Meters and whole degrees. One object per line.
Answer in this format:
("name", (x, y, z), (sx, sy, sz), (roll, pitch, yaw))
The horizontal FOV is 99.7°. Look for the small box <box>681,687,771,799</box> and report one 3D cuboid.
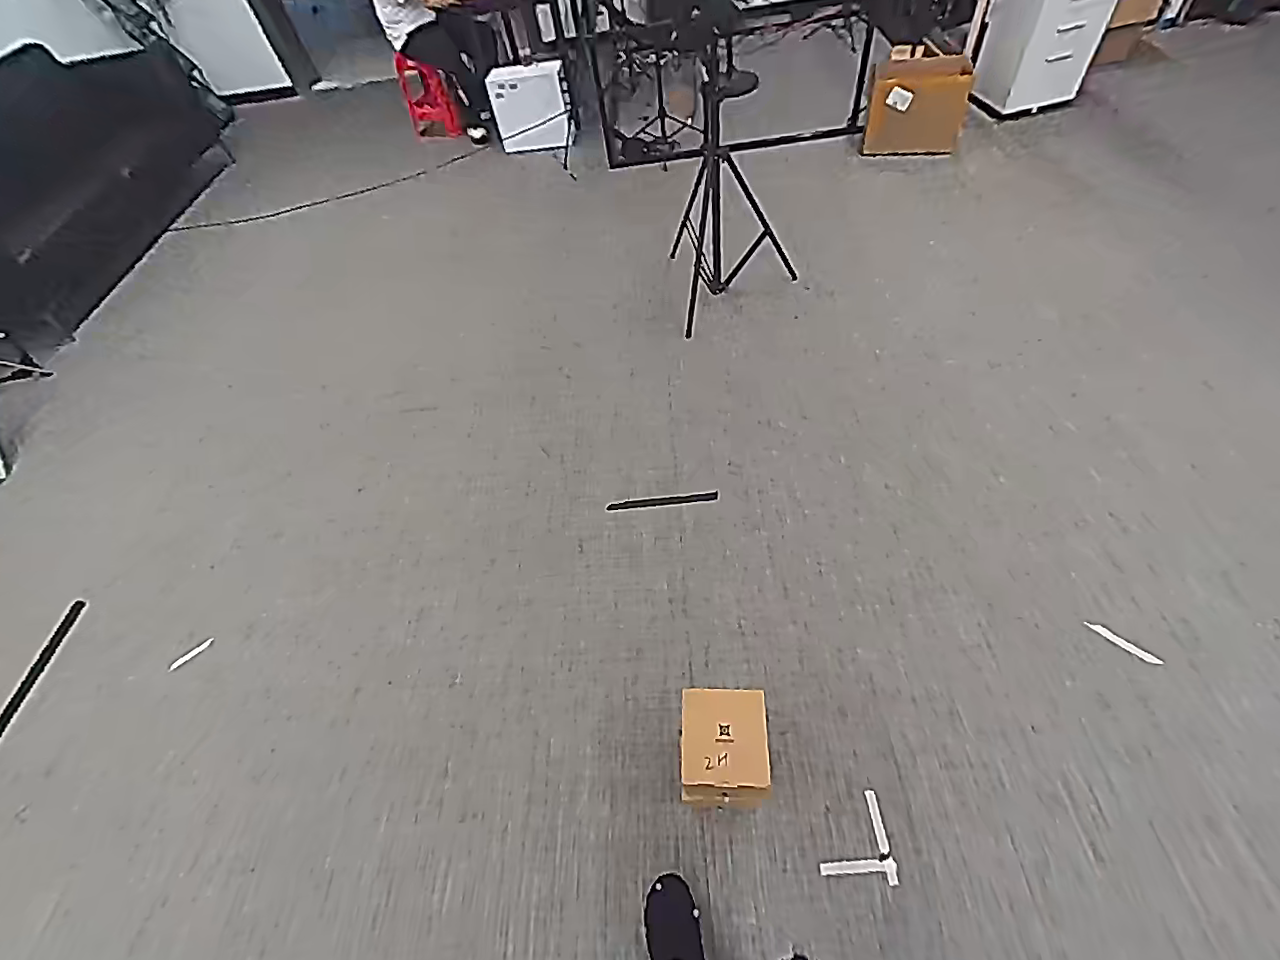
("small box", (0.172, 0.537, 1.103), (0.168, 0.176, 0.179), (-3, 54, 8))
